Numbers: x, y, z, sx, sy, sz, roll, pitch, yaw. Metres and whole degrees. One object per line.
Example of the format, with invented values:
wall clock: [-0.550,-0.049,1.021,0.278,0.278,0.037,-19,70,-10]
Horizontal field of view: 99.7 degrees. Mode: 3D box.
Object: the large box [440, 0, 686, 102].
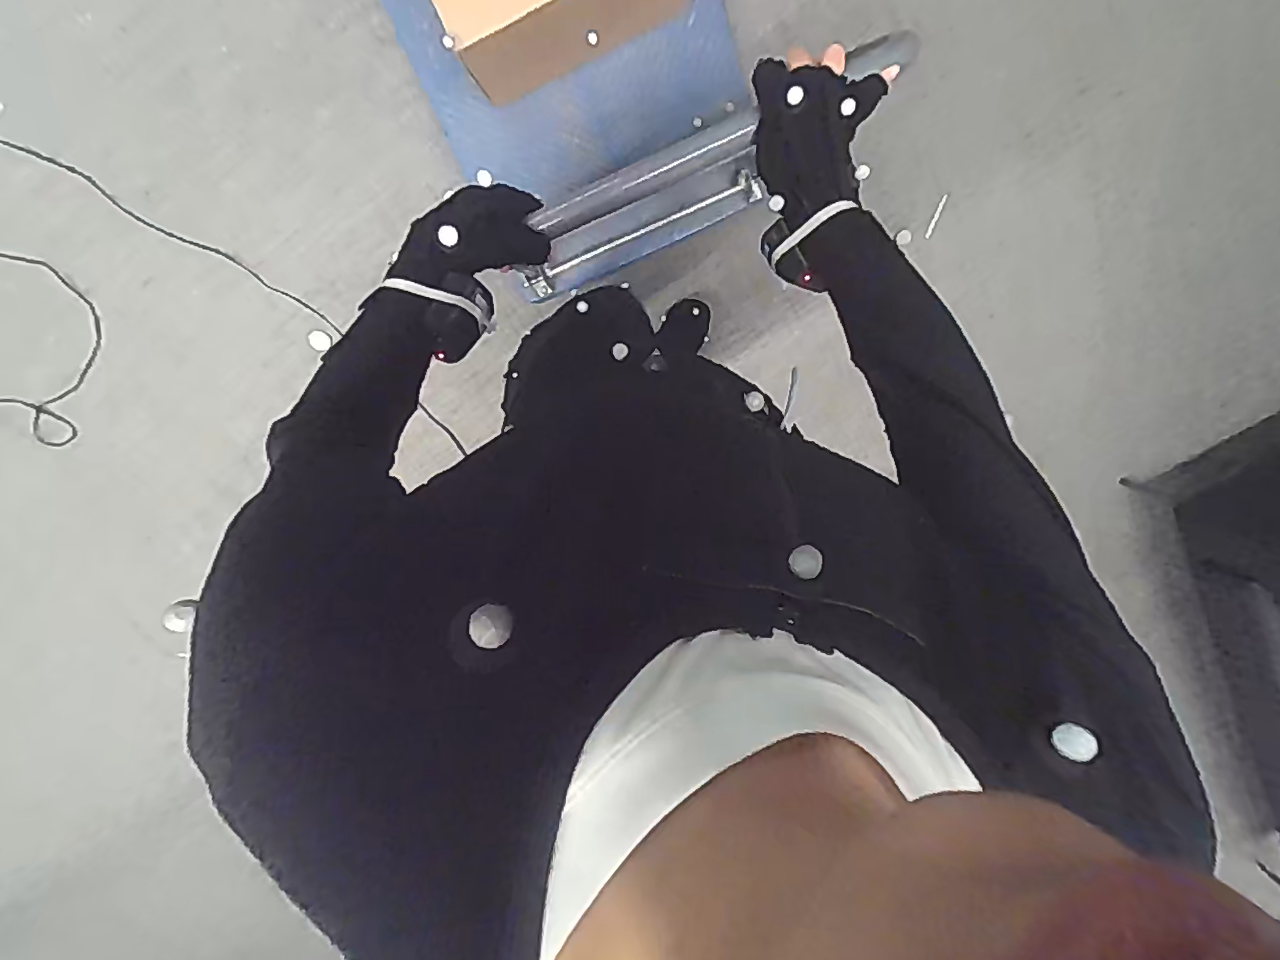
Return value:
large box: [-0.139,-0.877,0.833,0.408,0.320,0.320,-23,111,7]
